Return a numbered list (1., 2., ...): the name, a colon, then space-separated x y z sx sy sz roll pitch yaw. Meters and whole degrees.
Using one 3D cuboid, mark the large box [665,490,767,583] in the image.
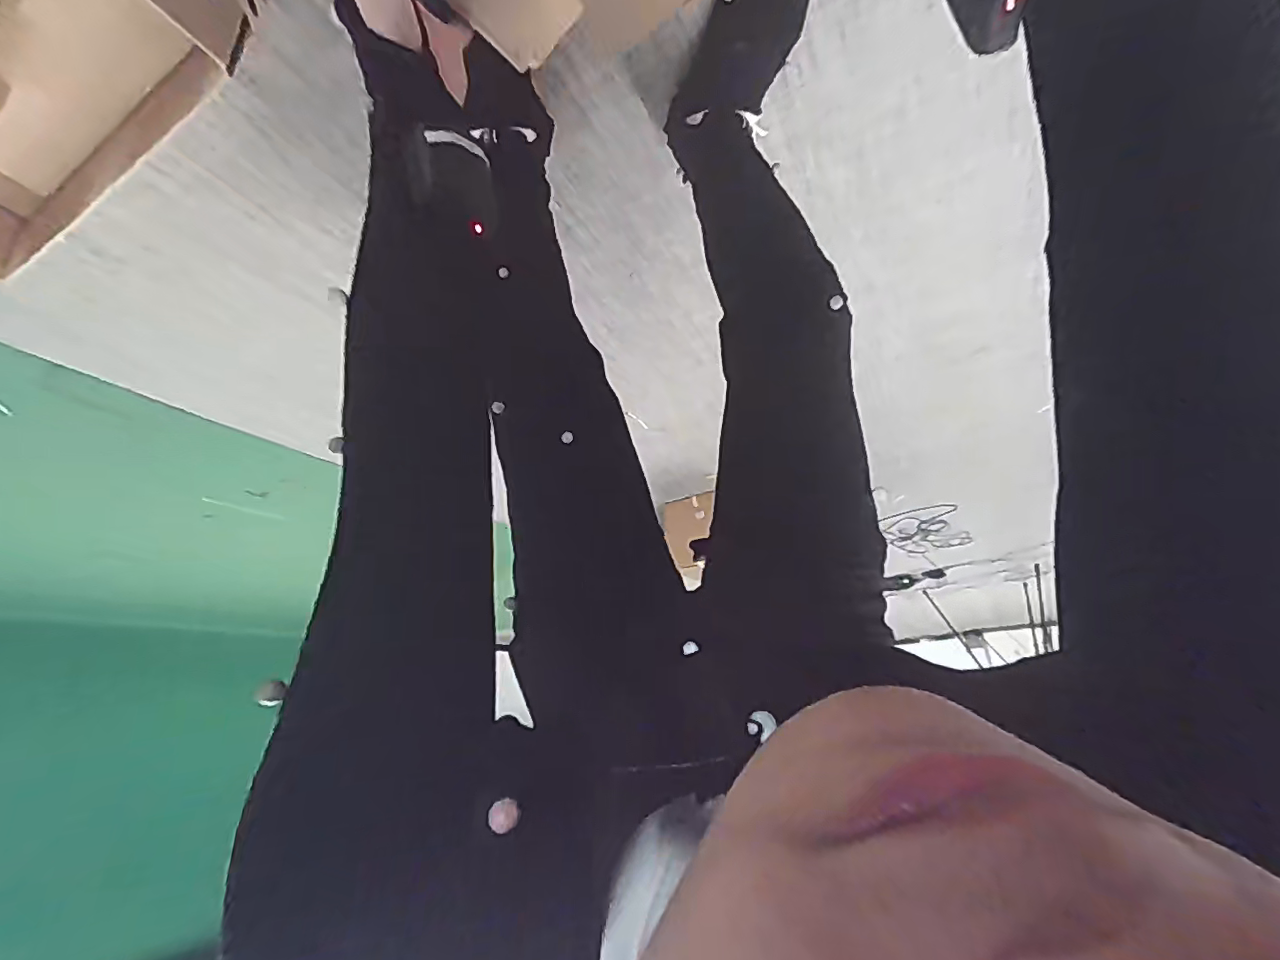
1. large box: 0.351 0.269 2.473 0.320 0.320 0.408 -15 156 26
